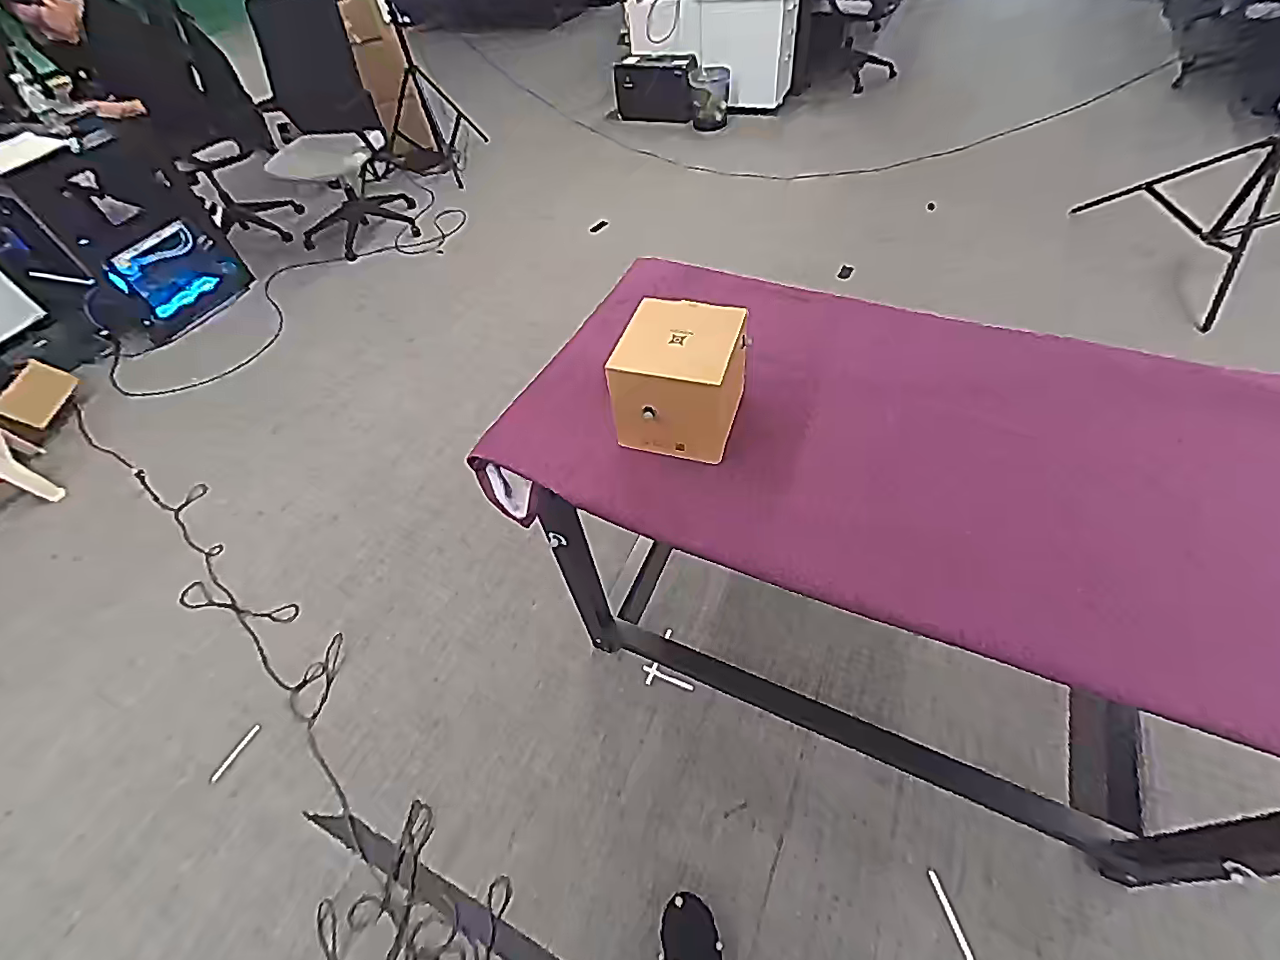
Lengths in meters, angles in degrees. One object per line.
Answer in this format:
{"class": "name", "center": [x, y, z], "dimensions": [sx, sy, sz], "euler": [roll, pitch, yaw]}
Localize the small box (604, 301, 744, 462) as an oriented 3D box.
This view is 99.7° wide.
{"class": "small box", "center": [0.061, -0.150, 0.838], "dimensions": [0.168, 0.176, 0.179], "euler": [11, 53, 16]}
